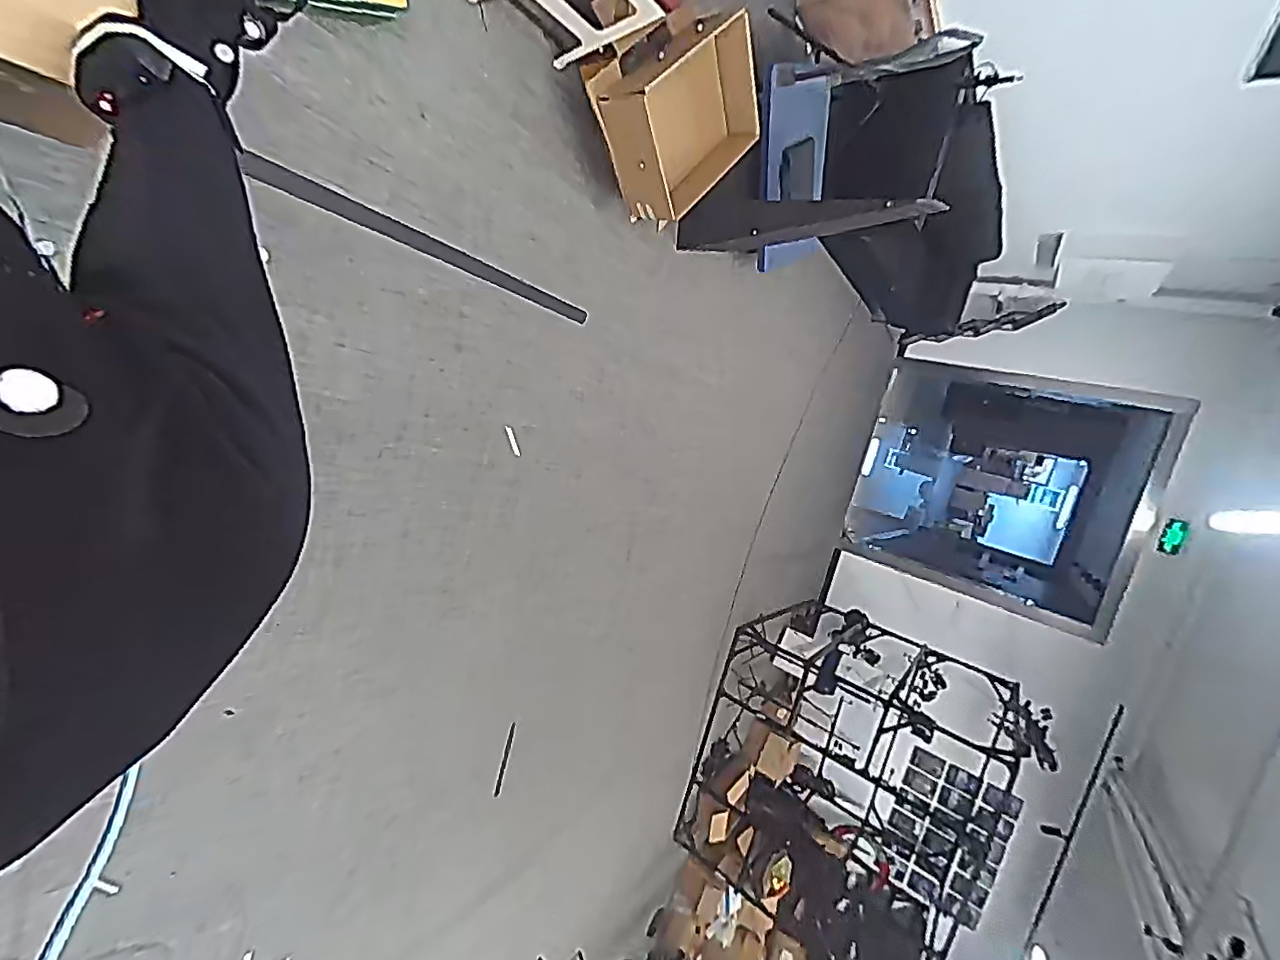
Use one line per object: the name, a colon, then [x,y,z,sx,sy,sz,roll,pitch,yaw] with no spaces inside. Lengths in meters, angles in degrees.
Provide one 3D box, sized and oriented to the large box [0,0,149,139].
large box: [-0.632,-0.501,0.367,0.408,0.320,0.320,-1,106,-53]
